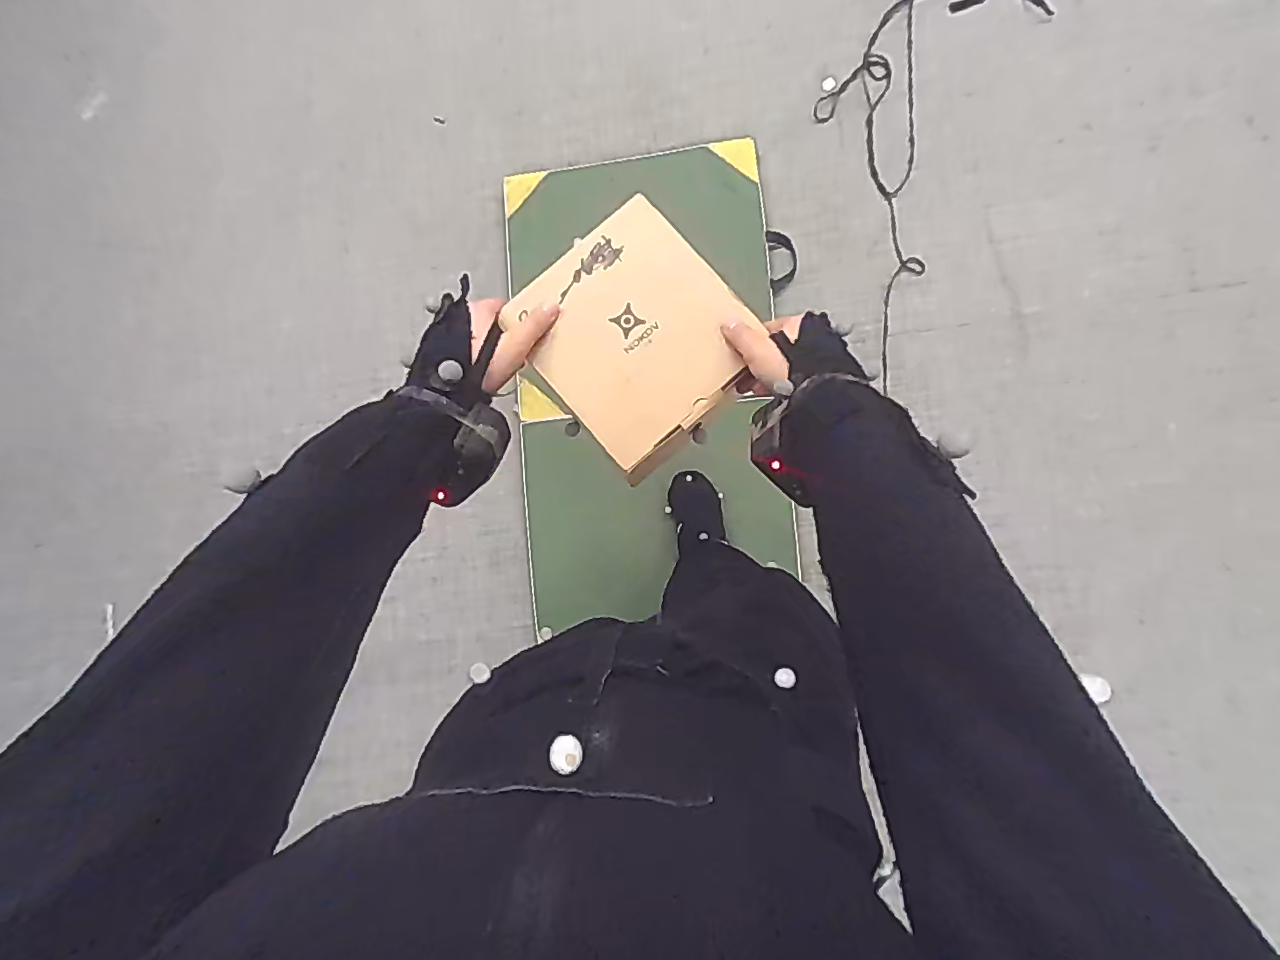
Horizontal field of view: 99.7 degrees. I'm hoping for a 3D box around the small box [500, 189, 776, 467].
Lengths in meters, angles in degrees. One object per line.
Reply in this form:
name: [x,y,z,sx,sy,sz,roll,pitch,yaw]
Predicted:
small box: [0.000,-0.126,0.528,0.168,0.176,0.179,-41,87,-2]
